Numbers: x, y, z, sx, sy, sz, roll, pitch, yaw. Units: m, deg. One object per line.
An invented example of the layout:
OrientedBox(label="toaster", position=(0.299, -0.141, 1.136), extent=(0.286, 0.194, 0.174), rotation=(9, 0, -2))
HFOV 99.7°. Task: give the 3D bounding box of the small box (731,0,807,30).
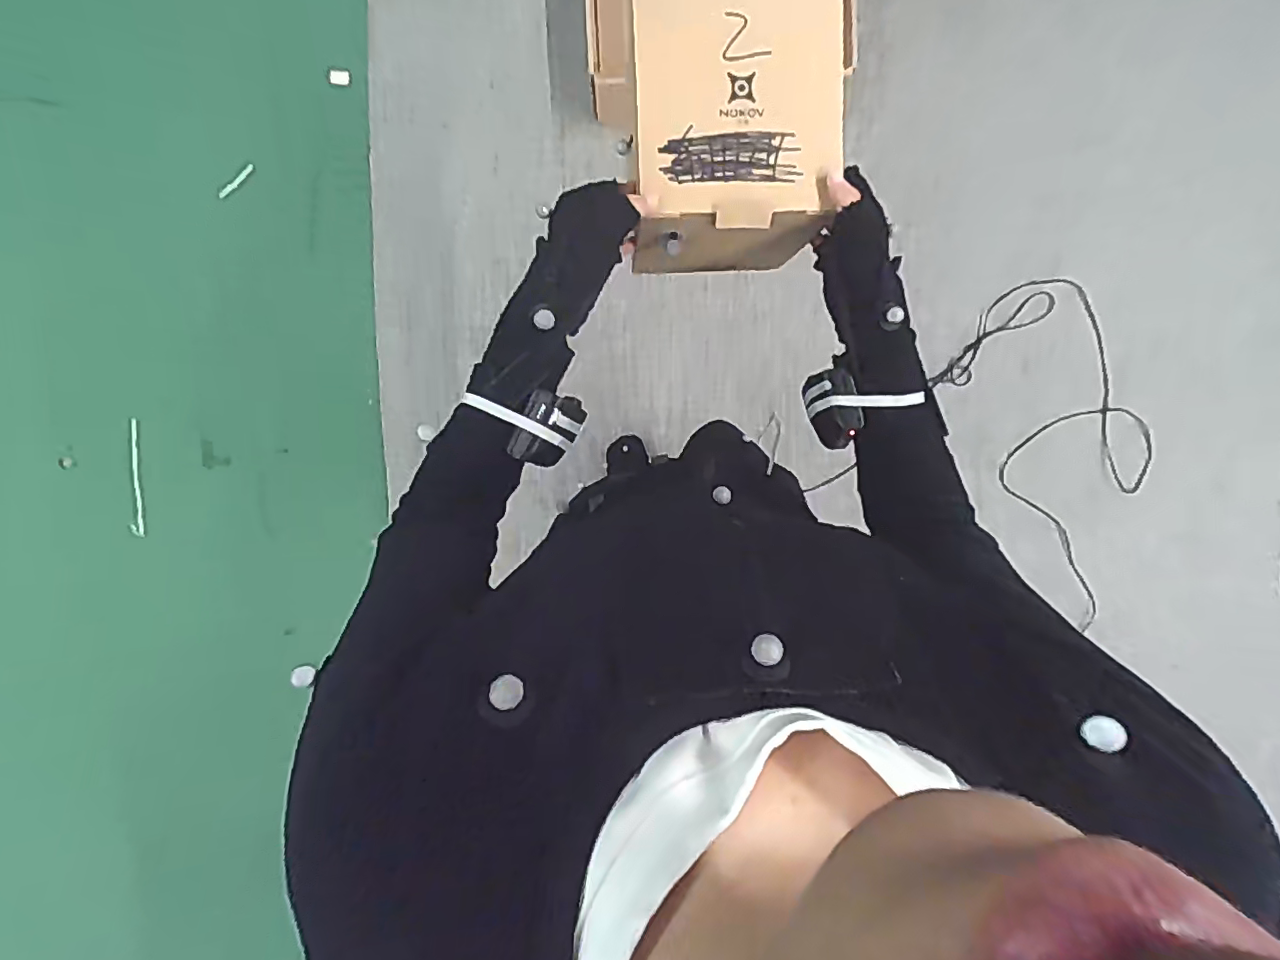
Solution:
OrientedBox(label="small box", position=(0.308, -1.196, 1.261), extent=(0.168, 0.176, 0.179), rotation=(-7, 94, 1))
